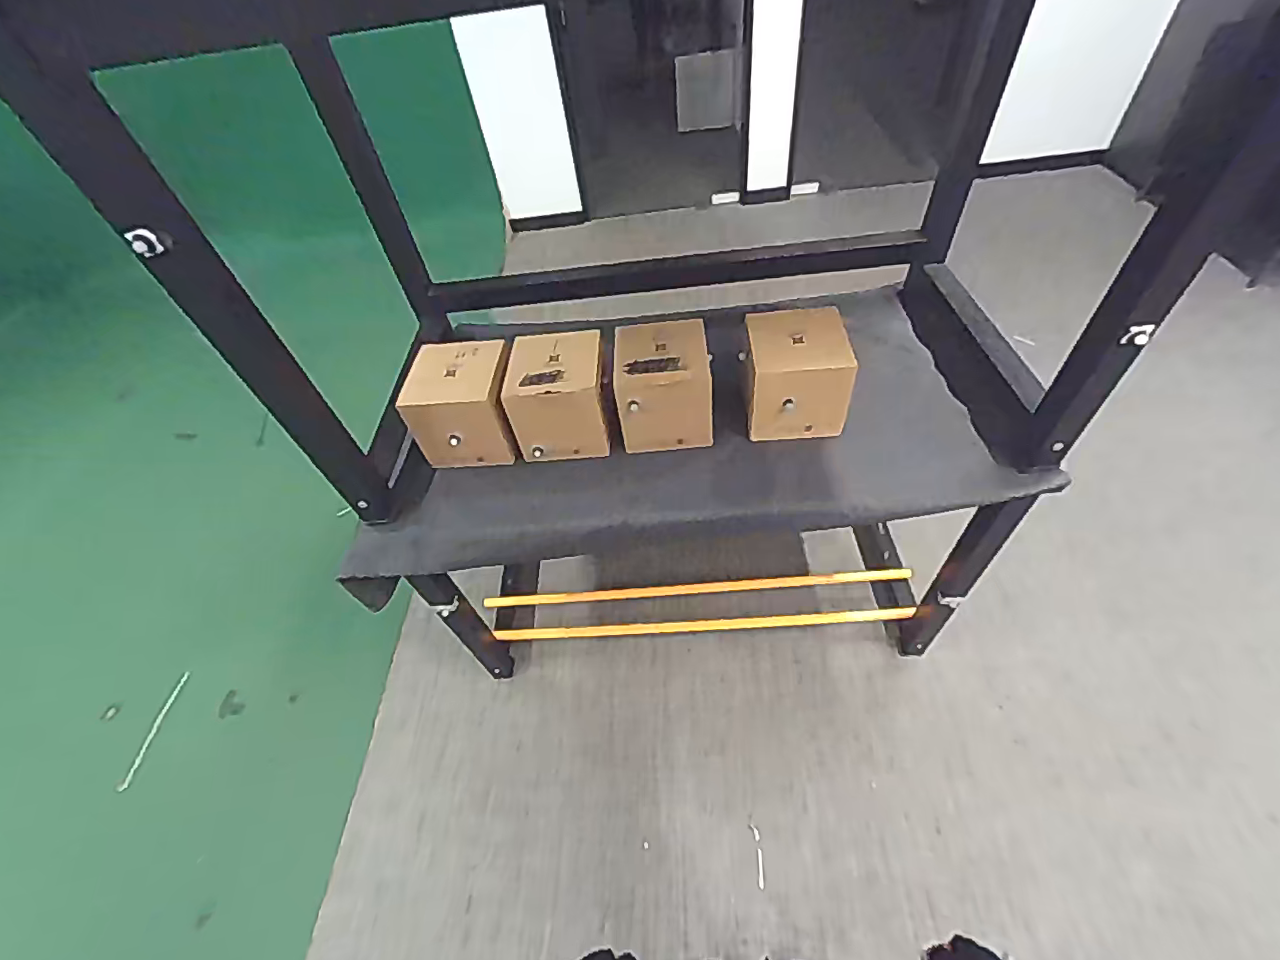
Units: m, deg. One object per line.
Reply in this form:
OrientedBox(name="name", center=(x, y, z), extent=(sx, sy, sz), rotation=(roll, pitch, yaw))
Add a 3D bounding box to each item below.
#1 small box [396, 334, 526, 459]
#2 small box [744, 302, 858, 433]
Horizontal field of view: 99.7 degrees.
OrientedBox(name="small box", center=(-0.326, -0.153, 1.029), extent=(0.168, 0.176, 0.179), rotation=(-1, 50, 5))
OrientedBox(name="small box", center=(0.282, -0.198, 0.985), extent=(0.168, 0.176, 0.179), rotation=(-2, 50, 5))
